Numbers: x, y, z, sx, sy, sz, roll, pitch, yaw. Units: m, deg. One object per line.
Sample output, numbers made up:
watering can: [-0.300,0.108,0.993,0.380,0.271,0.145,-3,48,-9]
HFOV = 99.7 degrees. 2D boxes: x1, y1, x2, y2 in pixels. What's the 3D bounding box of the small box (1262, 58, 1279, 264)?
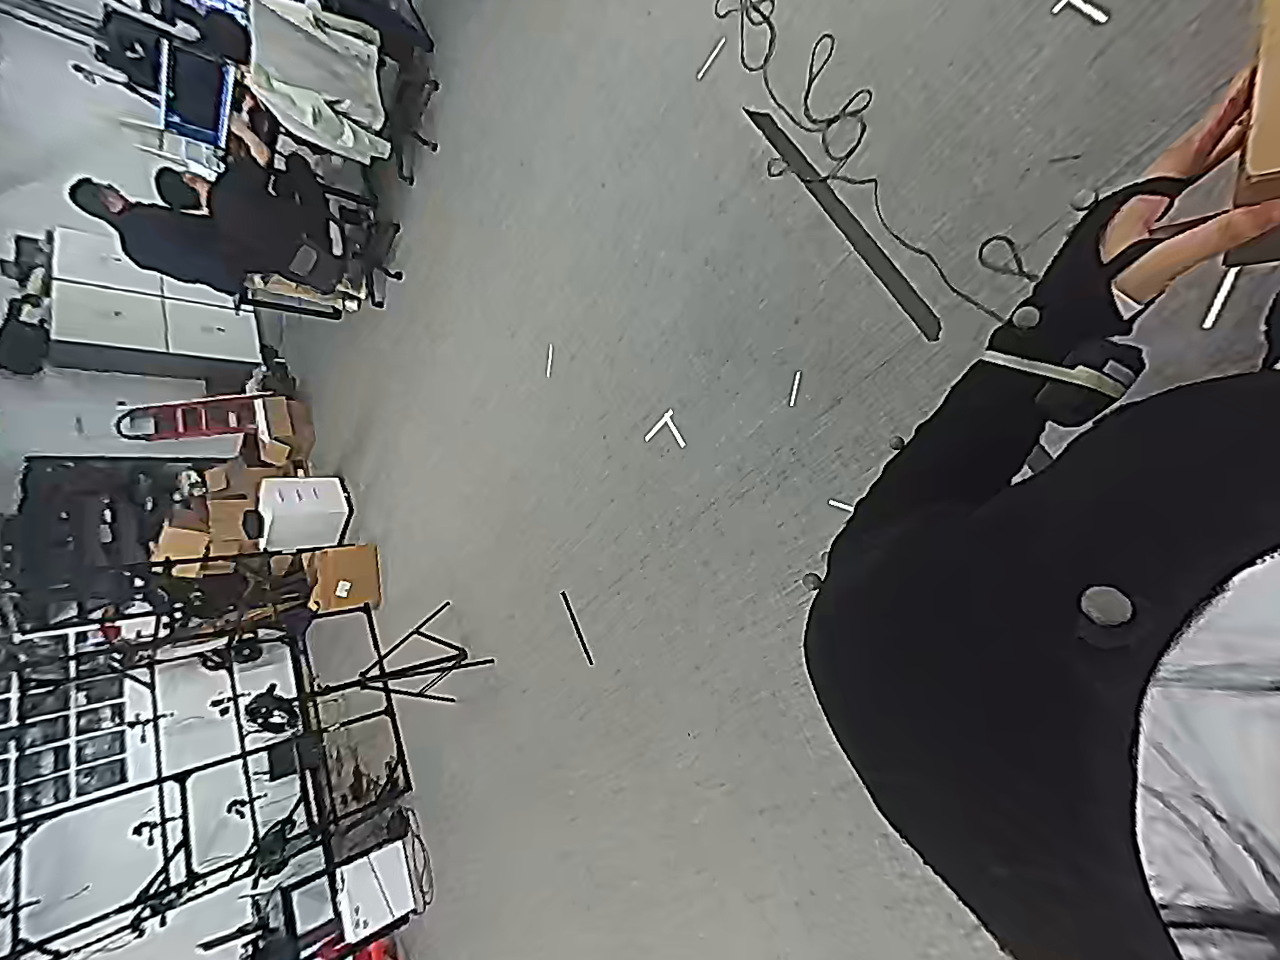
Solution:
small box: [0.403,-0.202,0.232,0.168,0.176,0.179,5,94,45]
